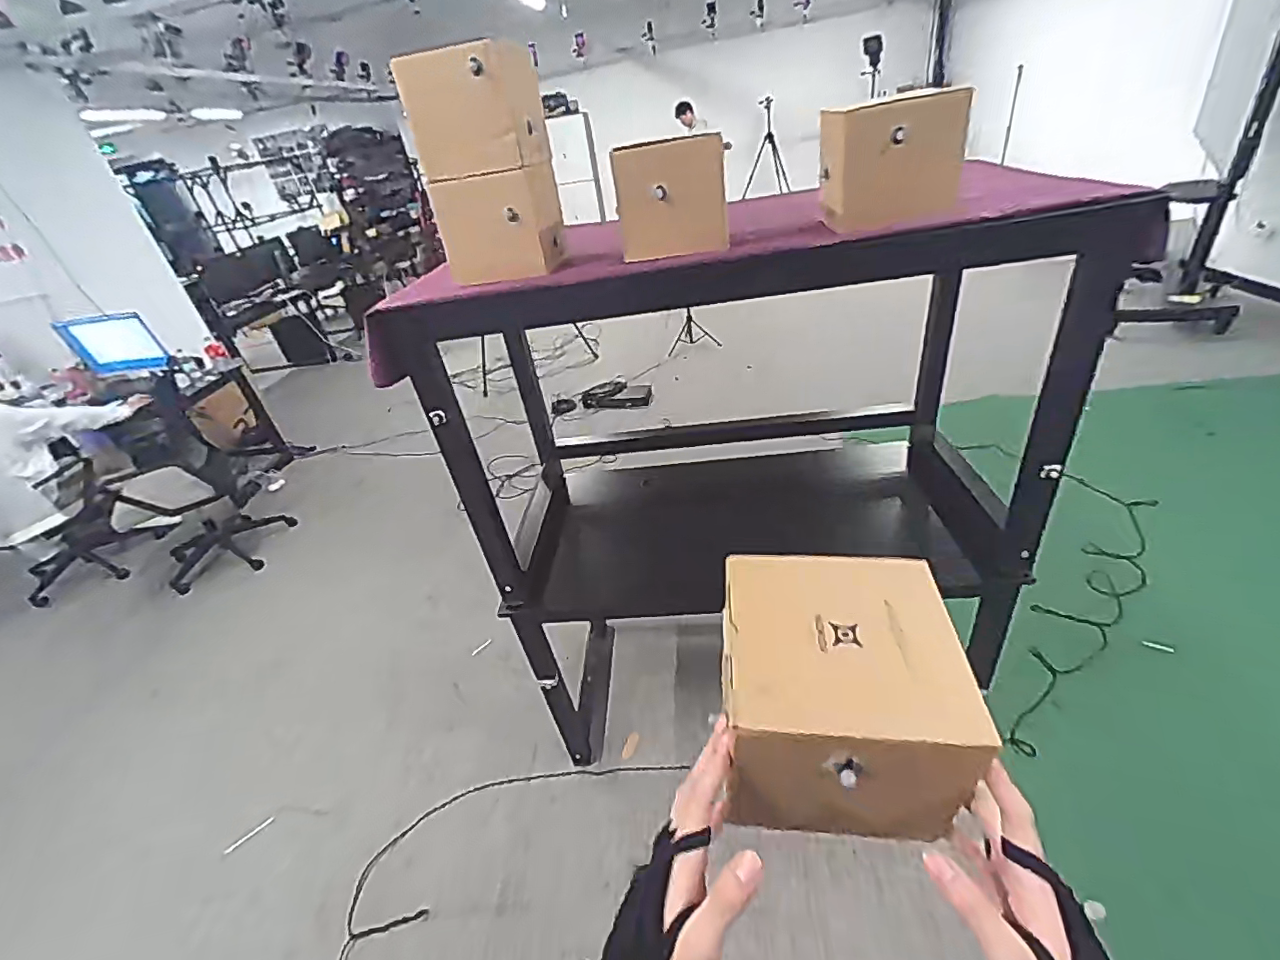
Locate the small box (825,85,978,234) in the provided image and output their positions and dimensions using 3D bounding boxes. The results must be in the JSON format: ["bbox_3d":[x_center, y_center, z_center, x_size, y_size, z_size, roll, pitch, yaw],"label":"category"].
[{"bbox_3d":[0.397,-0.500,0.853,0.179,0.176,0.168,-6,34,9],"label":"small box"}]

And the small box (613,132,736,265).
[{"bbox_3d":[0.067,-0.476,0.918,0.179,0.176,0.168,-4,32,12],"label":"small box"}]

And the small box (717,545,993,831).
[{"bbox_3d":[0.157,0.174,0.463,0.179,0.176,0.168,0,38,9],"label":"small box"}]

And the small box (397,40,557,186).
[{"bbox_3d":[-0.255,-0.594,0.894,0.179,0.176,0.168,-2,33,12],"label":"small box"}]
